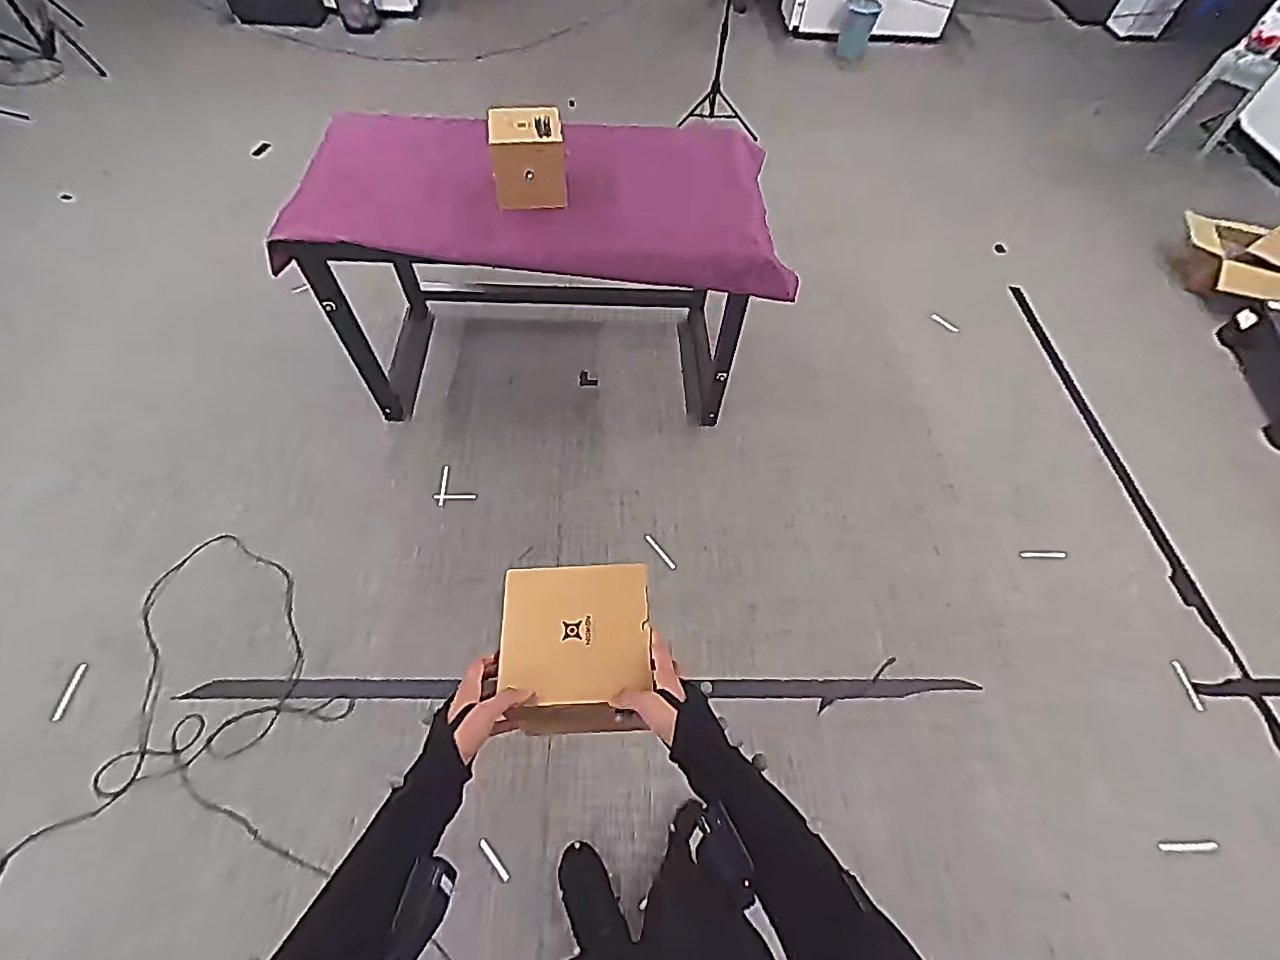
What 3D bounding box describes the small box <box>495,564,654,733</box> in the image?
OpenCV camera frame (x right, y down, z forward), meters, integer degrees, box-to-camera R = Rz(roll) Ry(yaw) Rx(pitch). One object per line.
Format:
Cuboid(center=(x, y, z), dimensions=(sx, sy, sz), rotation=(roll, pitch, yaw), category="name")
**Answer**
Cuboid(center=(-0.075, 0.221, 0.696), dimensions=(0.179, 0.176, 0.168), rotation=(-2, 56, -3), category="small box")
